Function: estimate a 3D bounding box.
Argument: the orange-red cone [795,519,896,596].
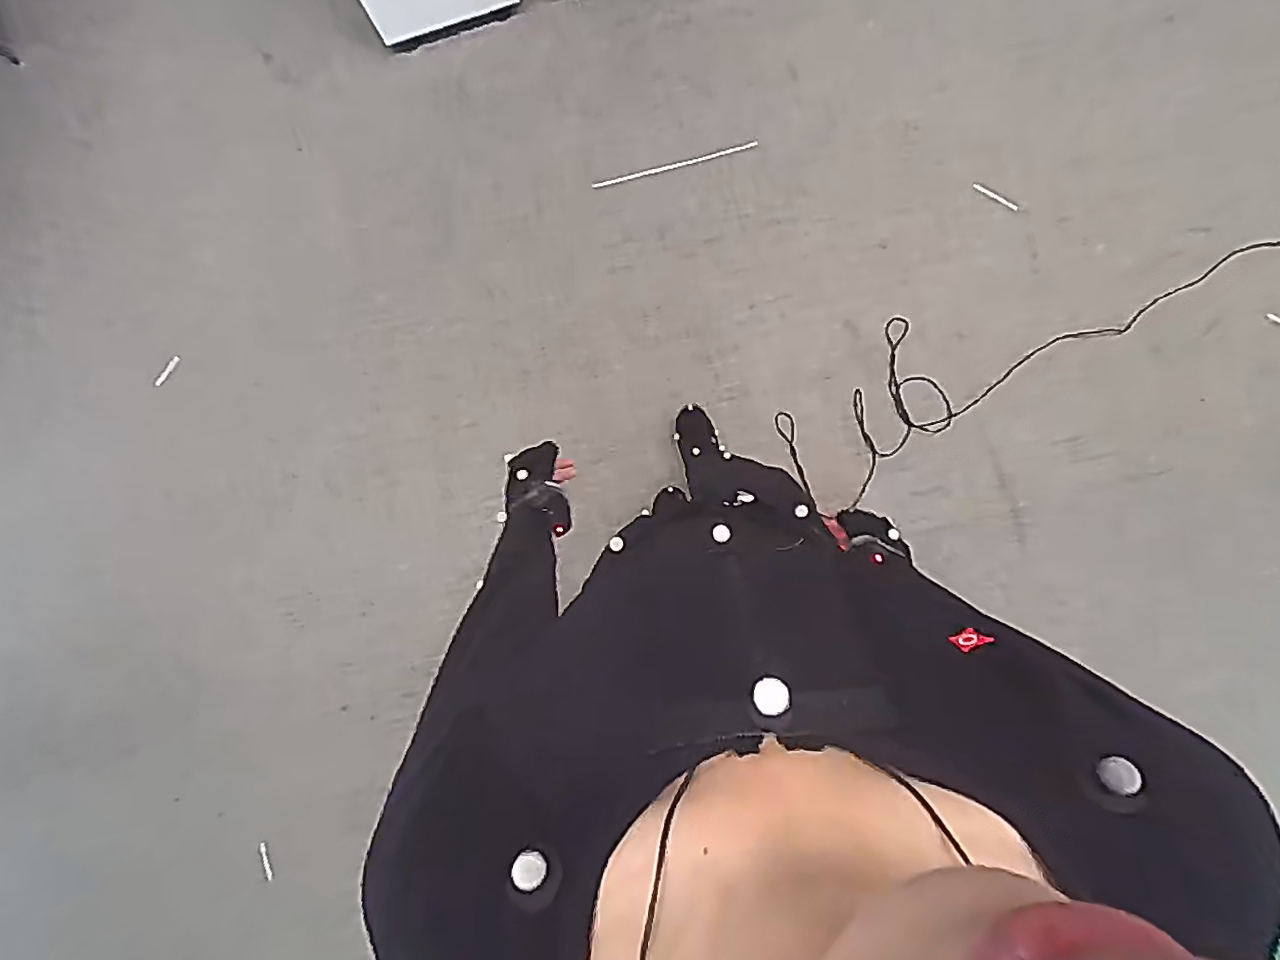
[{"bbox_3d":[0.534,0.215,1.330,0.198,0.360,0.199,-9,90,1],"label":"orange-red cone"}]
